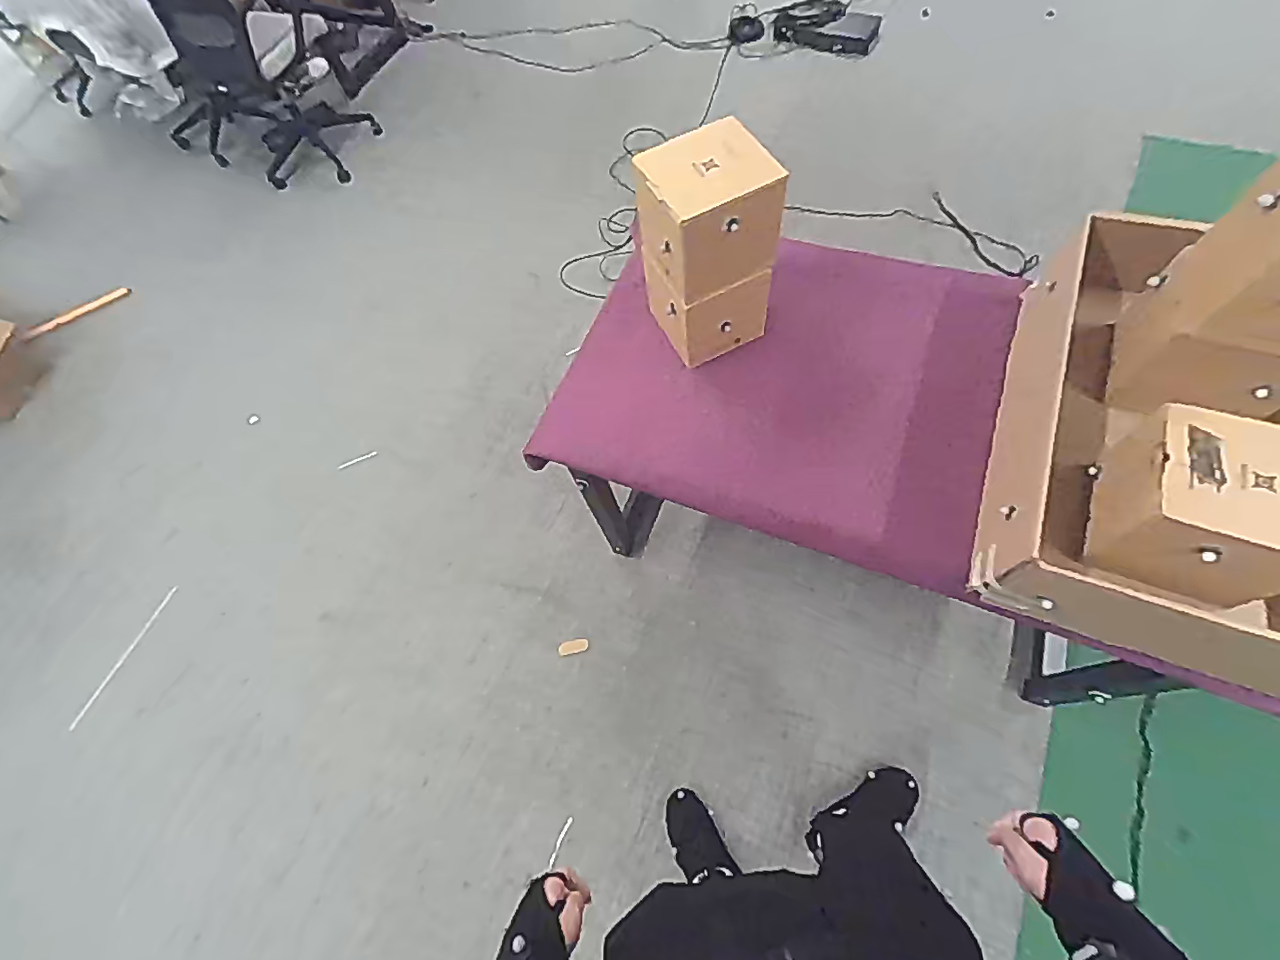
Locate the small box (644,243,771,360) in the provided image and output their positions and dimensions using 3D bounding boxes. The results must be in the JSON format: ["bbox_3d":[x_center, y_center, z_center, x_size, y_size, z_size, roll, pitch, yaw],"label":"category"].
[{"bbox_3d":[0.123,-0.347,1.004,0.168,0.176,0.179,-25,64,-5],"label":"small box"}]

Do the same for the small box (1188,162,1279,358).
[{"bbox_3d":[0.798,-0.256,0.628,0.168,0.176,0.179,20,70,17],"label":"small box"}]

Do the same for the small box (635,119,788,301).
[{"bbox_3d":[0.111,-0.419,0.859,0.179,0.176,0.168,-25,65,-5],"label":"small box"}]
